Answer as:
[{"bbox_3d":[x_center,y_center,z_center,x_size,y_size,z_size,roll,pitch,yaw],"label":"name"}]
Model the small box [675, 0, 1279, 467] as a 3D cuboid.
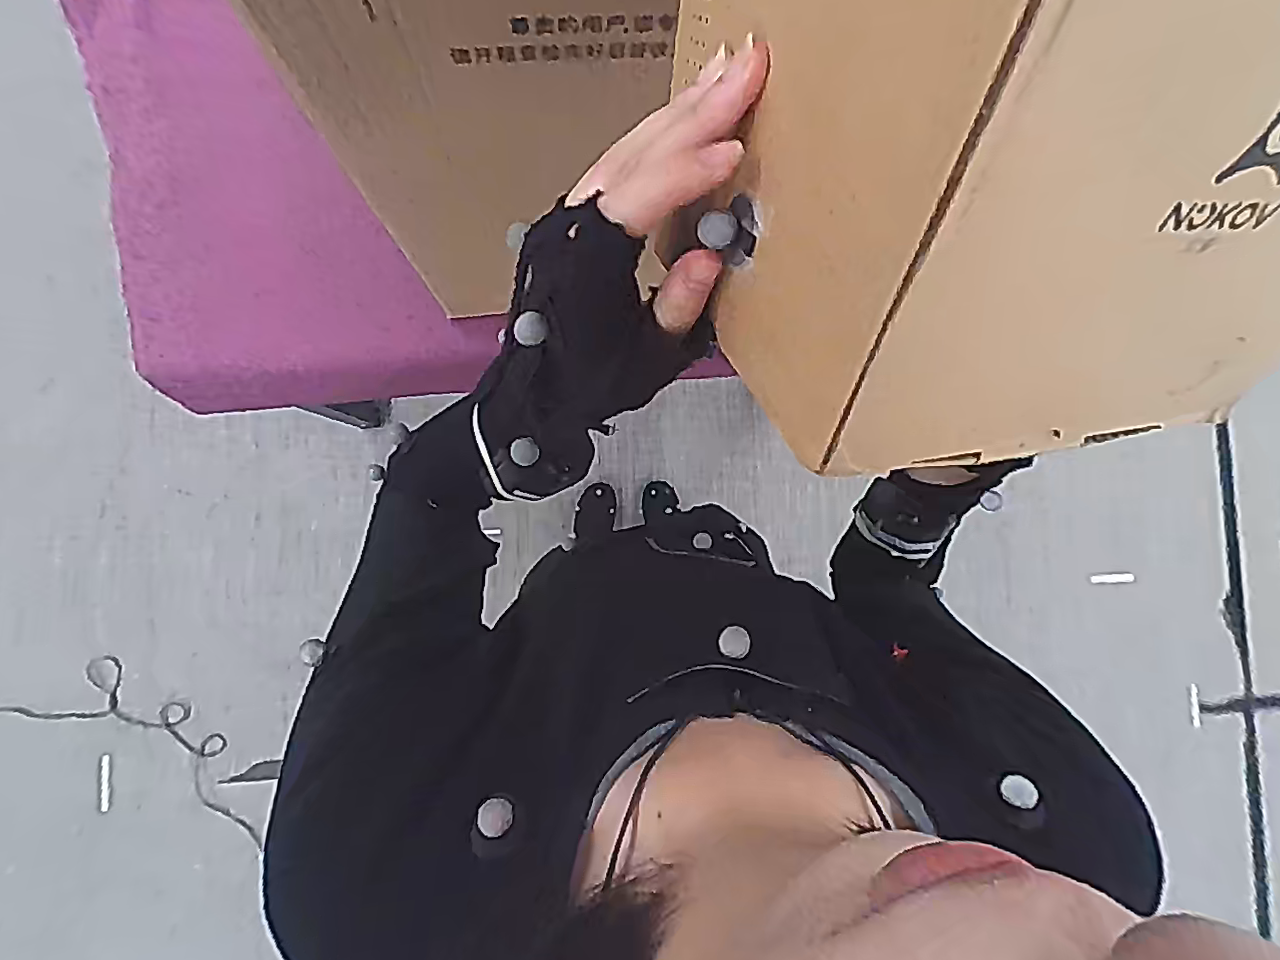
[{"bbox_3d":[0.117,-0.129,0.165,0.168,0.179,0.176,-8,45,-15],"label":"small box"}]
